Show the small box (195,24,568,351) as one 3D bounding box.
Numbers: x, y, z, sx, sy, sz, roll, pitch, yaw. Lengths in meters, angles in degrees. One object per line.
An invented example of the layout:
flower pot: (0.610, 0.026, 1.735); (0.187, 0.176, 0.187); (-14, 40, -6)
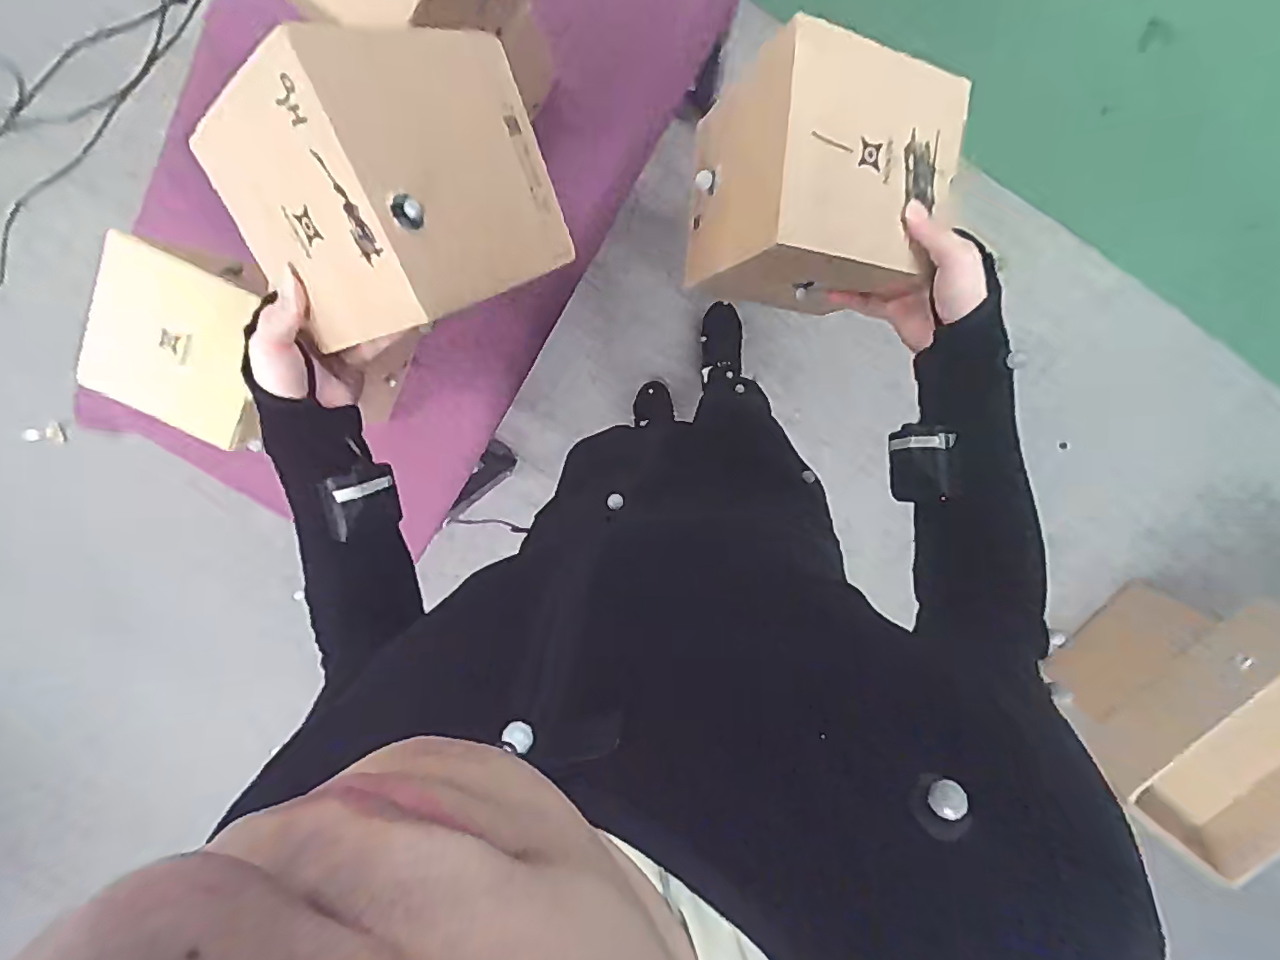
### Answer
small box: (-0.190, -0.218, 0.429); (0.179, 0.176, 0.168); (1, 122, 38)

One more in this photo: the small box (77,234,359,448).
small box: (-0.474, -0.154, 0.632); (0.179, 0.176, 0.168); (25, 102, -3)

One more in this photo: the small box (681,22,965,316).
small box: (0.157, -0.258, 0.504); (0.179, 0.176, 0.168); (4, 94, -20)

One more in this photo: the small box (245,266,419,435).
small box: (-0.464, -0.183, 0.792); (0.179, 0.176, 0.168); (27, 102, -3)
